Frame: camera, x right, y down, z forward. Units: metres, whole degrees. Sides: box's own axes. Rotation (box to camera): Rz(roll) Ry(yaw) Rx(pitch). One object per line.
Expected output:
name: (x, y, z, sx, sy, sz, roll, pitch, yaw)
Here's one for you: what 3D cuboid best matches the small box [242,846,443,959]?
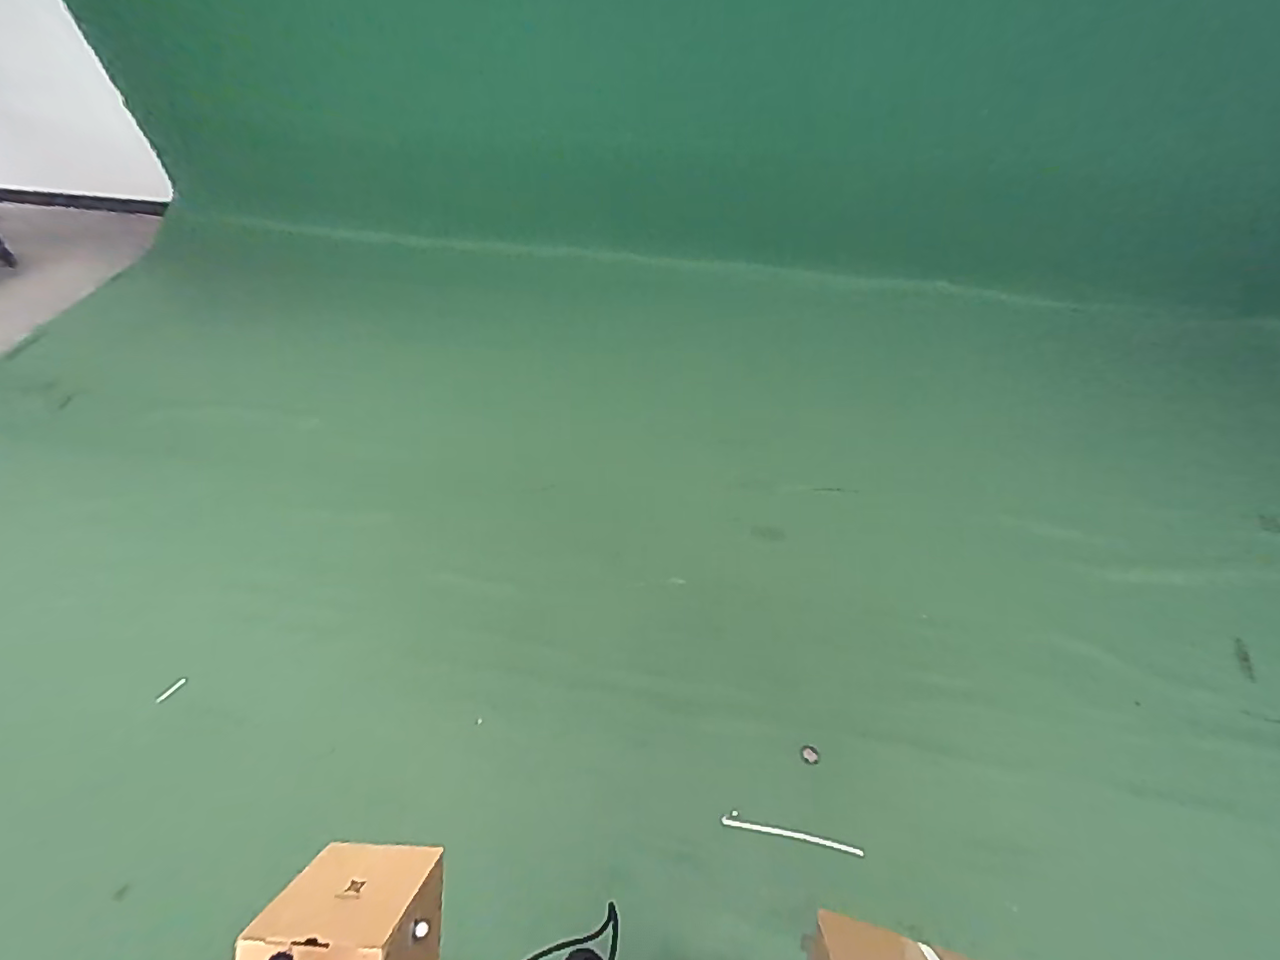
small box: (-0.363, 0.600, 0.674, 0.168, 0.179, 0.176, 1, 88, 2)
